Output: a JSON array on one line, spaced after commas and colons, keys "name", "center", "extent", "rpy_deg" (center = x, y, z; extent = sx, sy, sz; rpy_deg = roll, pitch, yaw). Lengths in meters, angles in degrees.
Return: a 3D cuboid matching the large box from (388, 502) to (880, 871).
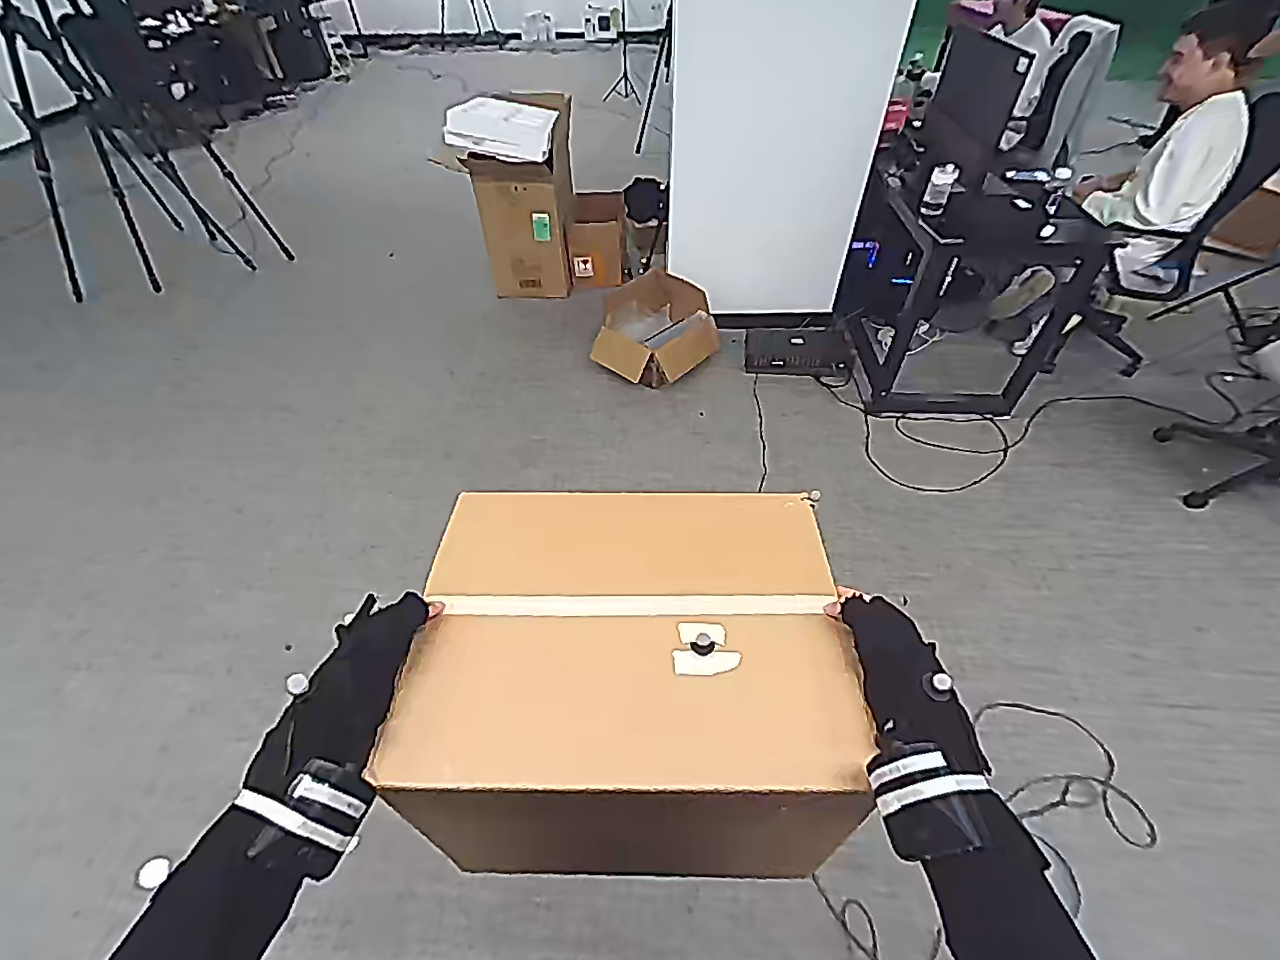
[{"name": "large box", "center": [-0.005, 0.240, 0.638], "extent": [0.408, 0.320, 0.320], "rpy_deg": [0, 44, 1]}]
